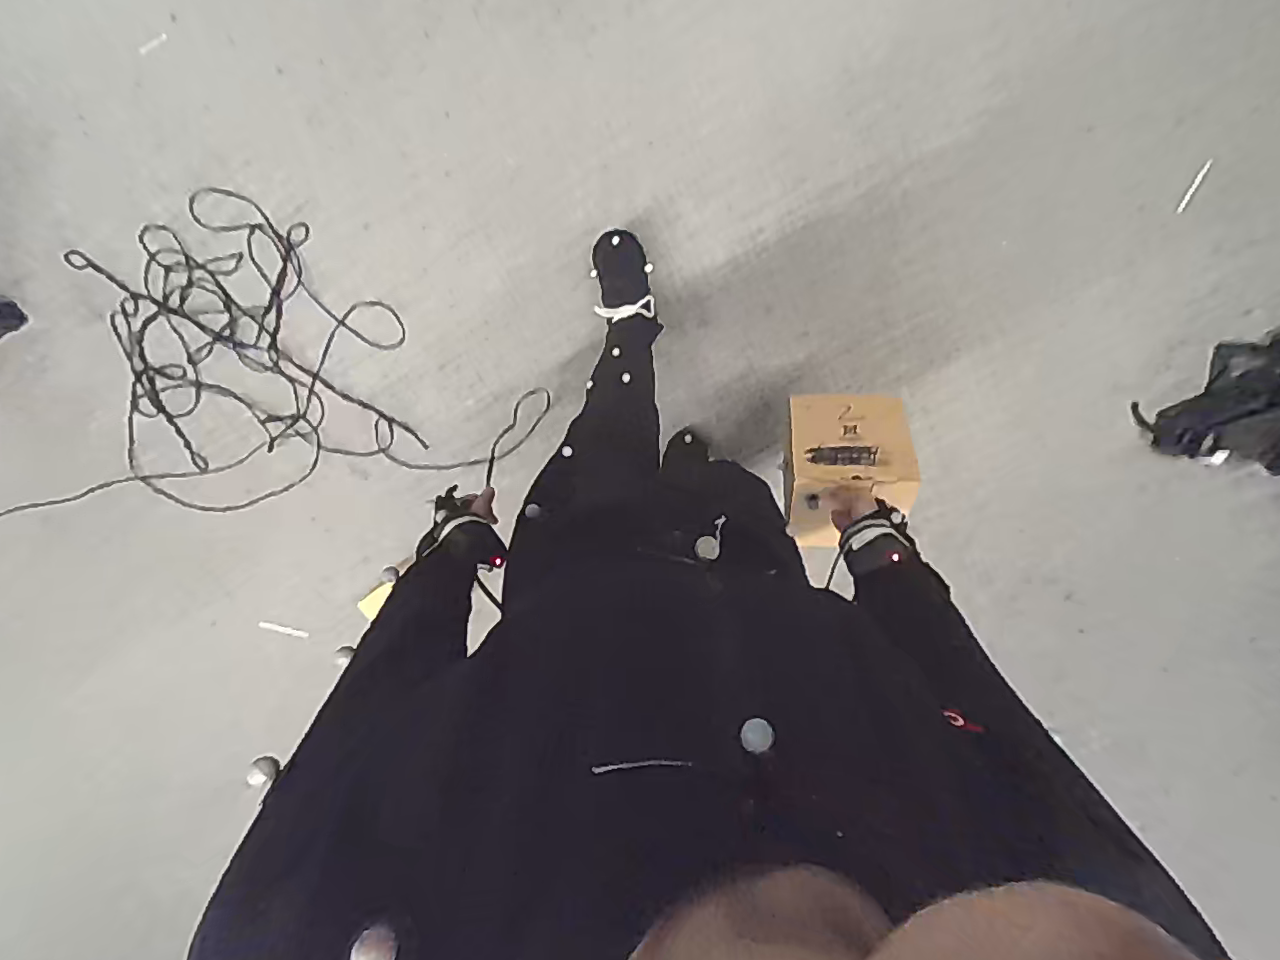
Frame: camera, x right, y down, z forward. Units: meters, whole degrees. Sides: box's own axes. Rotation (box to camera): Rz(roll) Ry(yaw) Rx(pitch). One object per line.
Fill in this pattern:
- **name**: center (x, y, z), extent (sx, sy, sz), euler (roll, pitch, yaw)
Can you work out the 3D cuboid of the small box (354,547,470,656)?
- **small box**: center (-0.563, 0.301, 1.363), extent (0.179, 0.176, 0.168), euler (-34, 102, 10)
